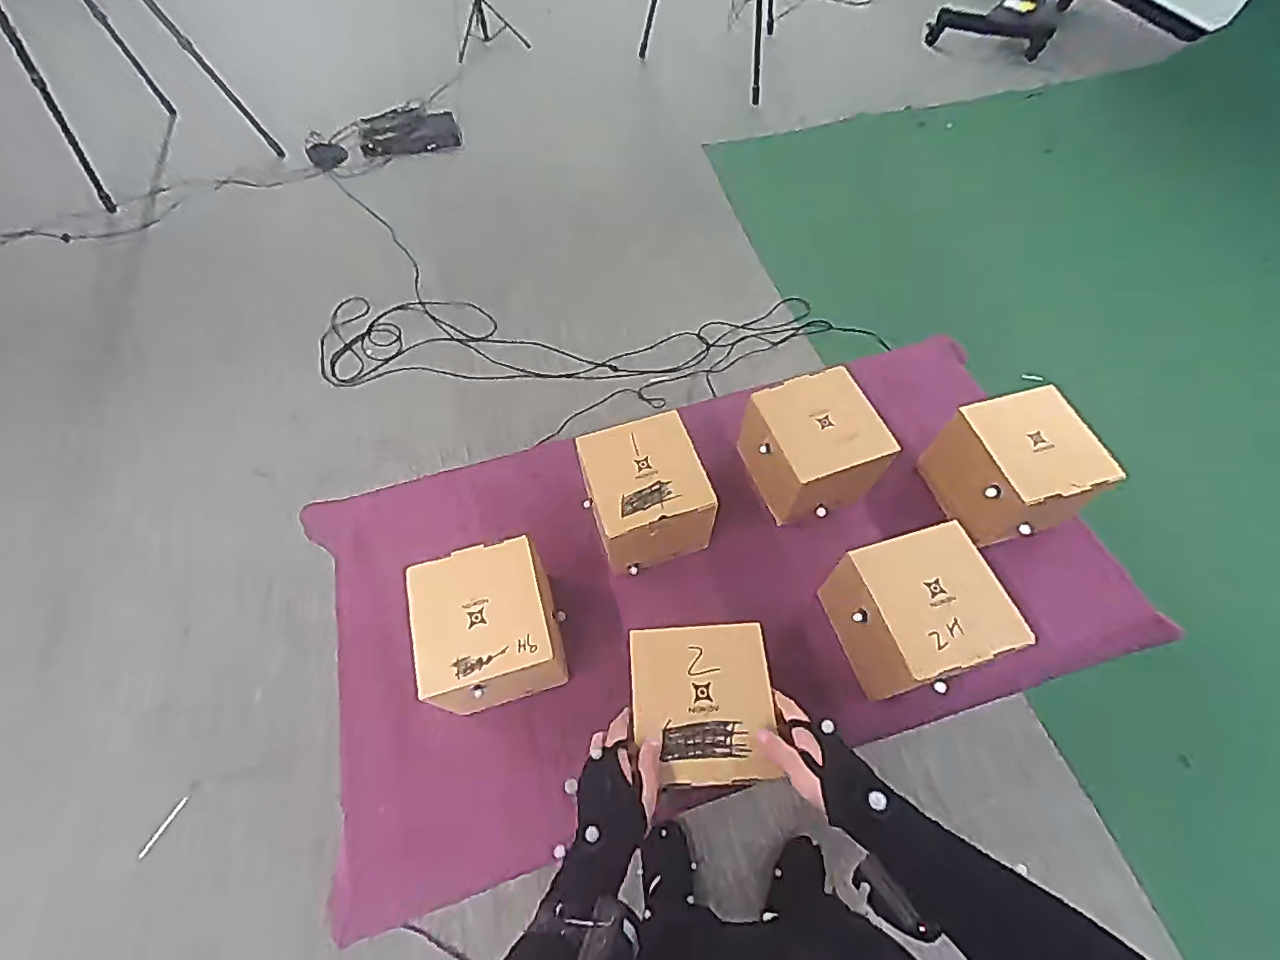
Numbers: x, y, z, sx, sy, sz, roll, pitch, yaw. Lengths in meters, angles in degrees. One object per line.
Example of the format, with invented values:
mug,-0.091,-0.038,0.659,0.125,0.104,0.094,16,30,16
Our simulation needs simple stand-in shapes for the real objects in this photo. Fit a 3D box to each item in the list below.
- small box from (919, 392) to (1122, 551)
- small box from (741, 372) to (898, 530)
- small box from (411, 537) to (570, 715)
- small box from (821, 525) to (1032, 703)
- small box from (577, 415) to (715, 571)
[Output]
small box,0.589,-0.010,0.870,0.168,0.176,0.179,-14,61,-6
small box,0.281,-0.044,0.898,0.168,0.176,0.179,-17,62,-7
small box,-0.204,0.209,0.759,0.168,0.176,0.179,-16,61,-6
small box,0.378,0.191,0.756,0.168,0.176,0.179,-15,60,-6
small box,0.009,0.030,0.860,0.168,0.176,0.179,-16,60,-8
